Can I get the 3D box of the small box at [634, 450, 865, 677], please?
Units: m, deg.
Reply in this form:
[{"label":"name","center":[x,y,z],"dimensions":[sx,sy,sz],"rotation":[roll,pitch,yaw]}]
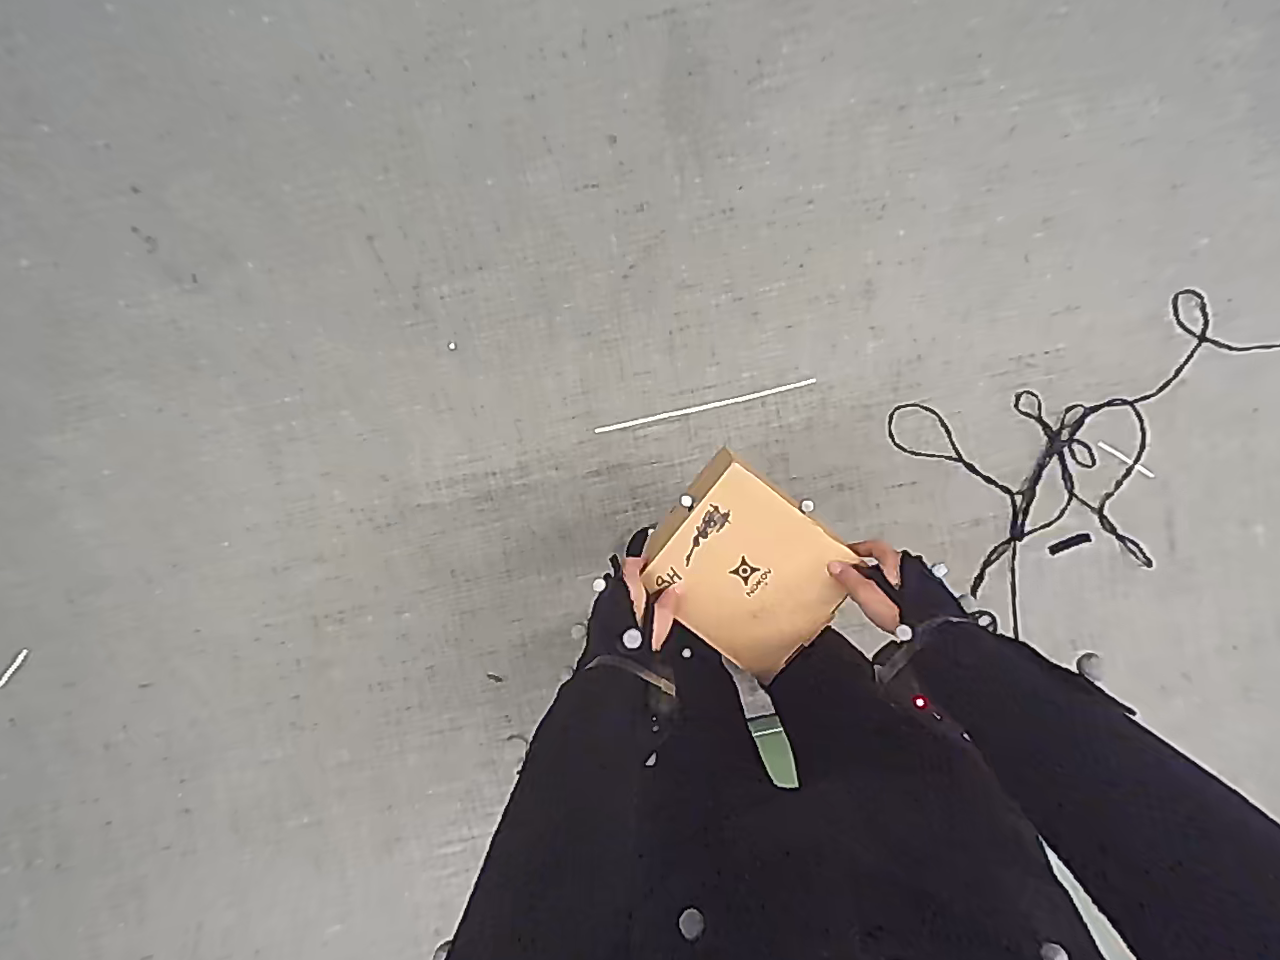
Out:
[{"label":"small box","center":[0.116,0.080,0.625],"dimensions":[0.179,0.176,0.168],"rotation":[38,100,-2]}]
